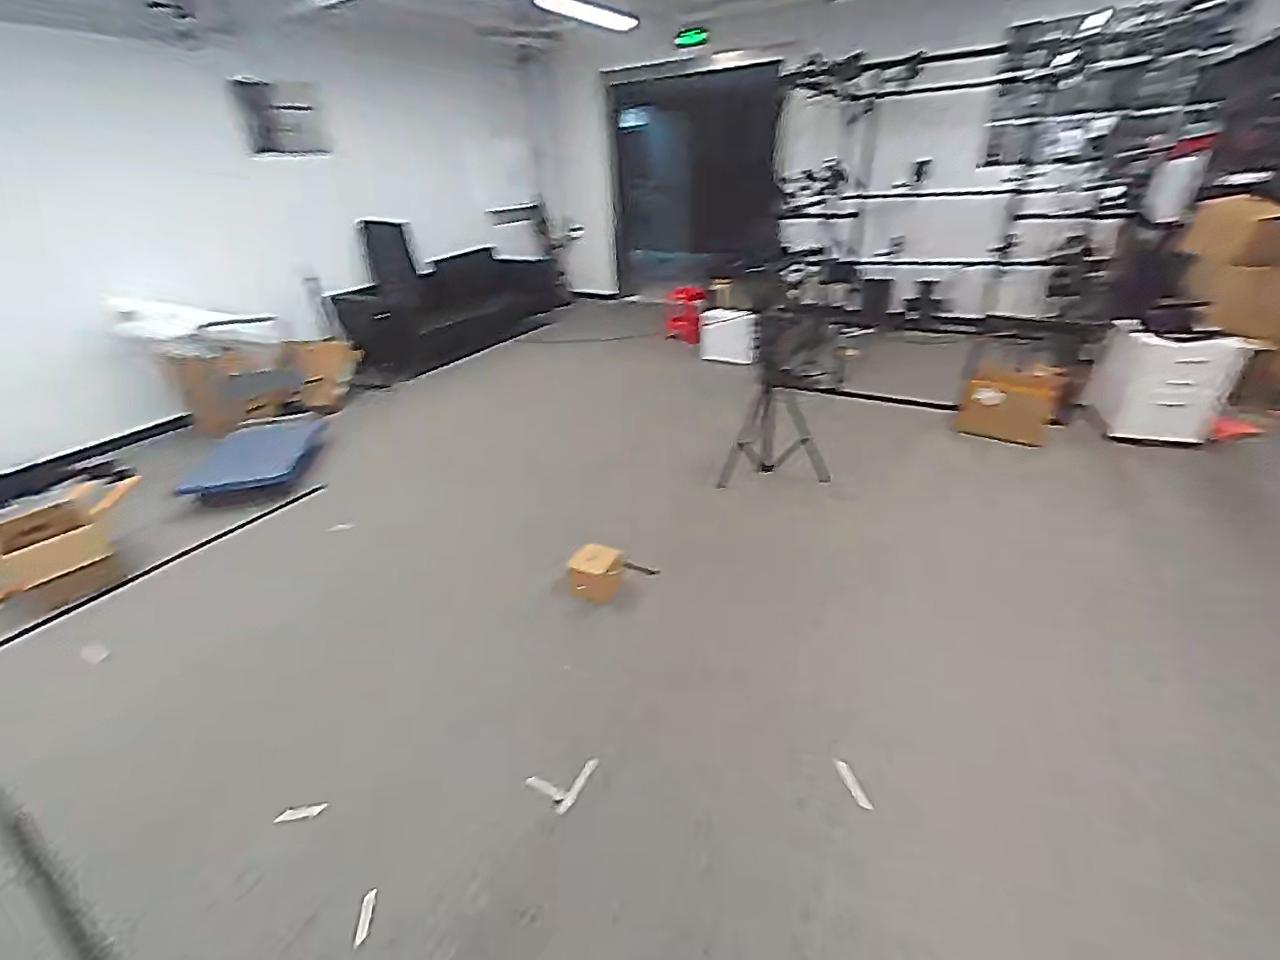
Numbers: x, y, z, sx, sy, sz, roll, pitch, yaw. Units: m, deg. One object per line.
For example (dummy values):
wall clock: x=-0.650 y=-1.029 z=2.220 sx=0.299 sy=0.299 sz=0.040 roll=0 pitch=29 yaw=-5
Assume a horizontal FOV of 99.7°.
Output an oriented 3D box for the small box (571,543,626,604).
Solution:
small box: x=-0.167 y=0.397 z=2.285 sx=0.168 sy=0.176 sz=0.179 roll=13 pitch=33 yaw=26
